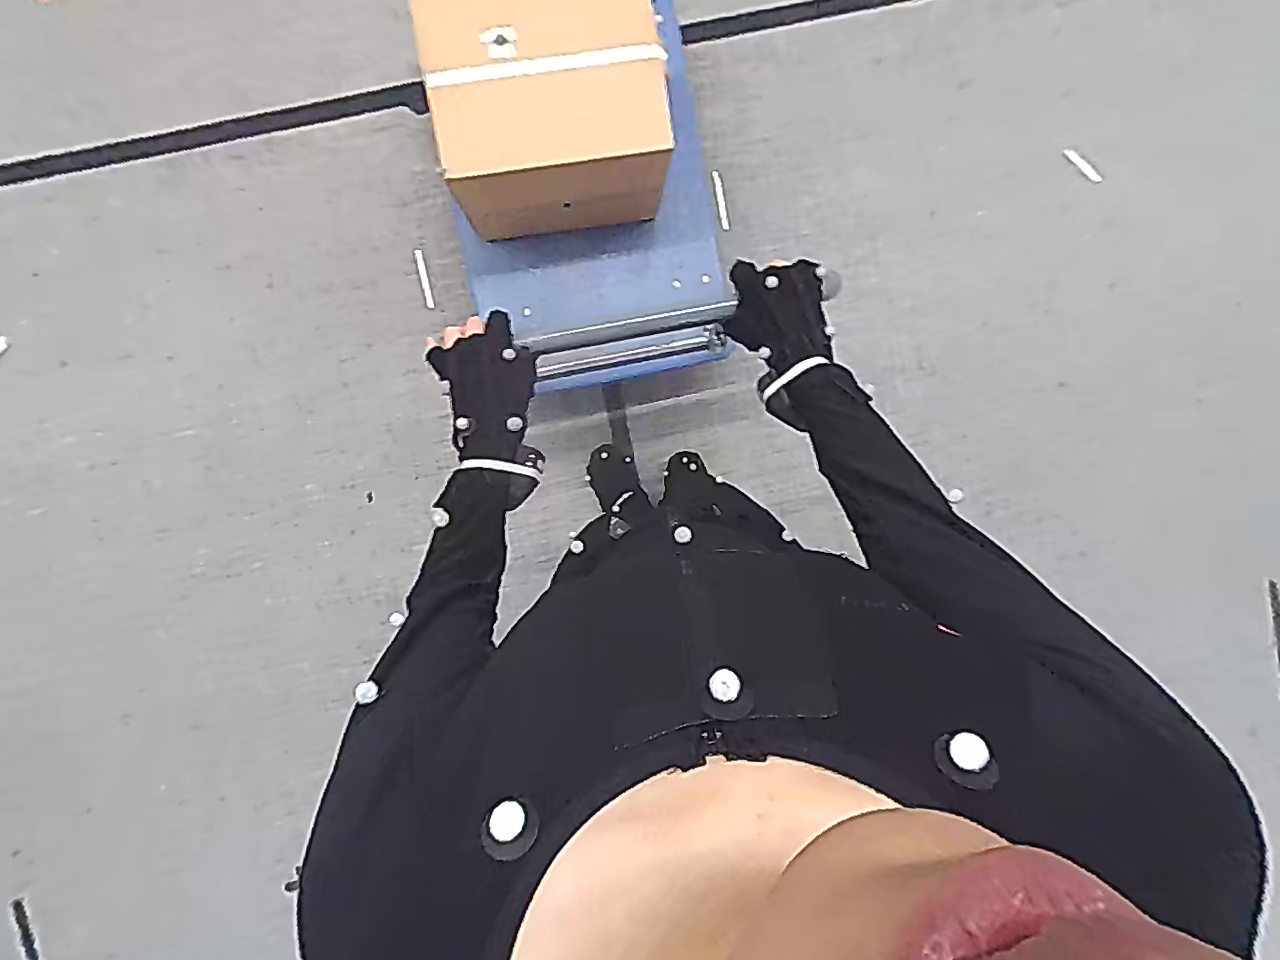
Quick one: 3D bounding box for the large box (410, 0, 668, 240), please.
[{"bbox_3d":[-0.177,-0.713,1.084,0.408,0.320,0.320,-10,95,-2],"label":"large box"}]
